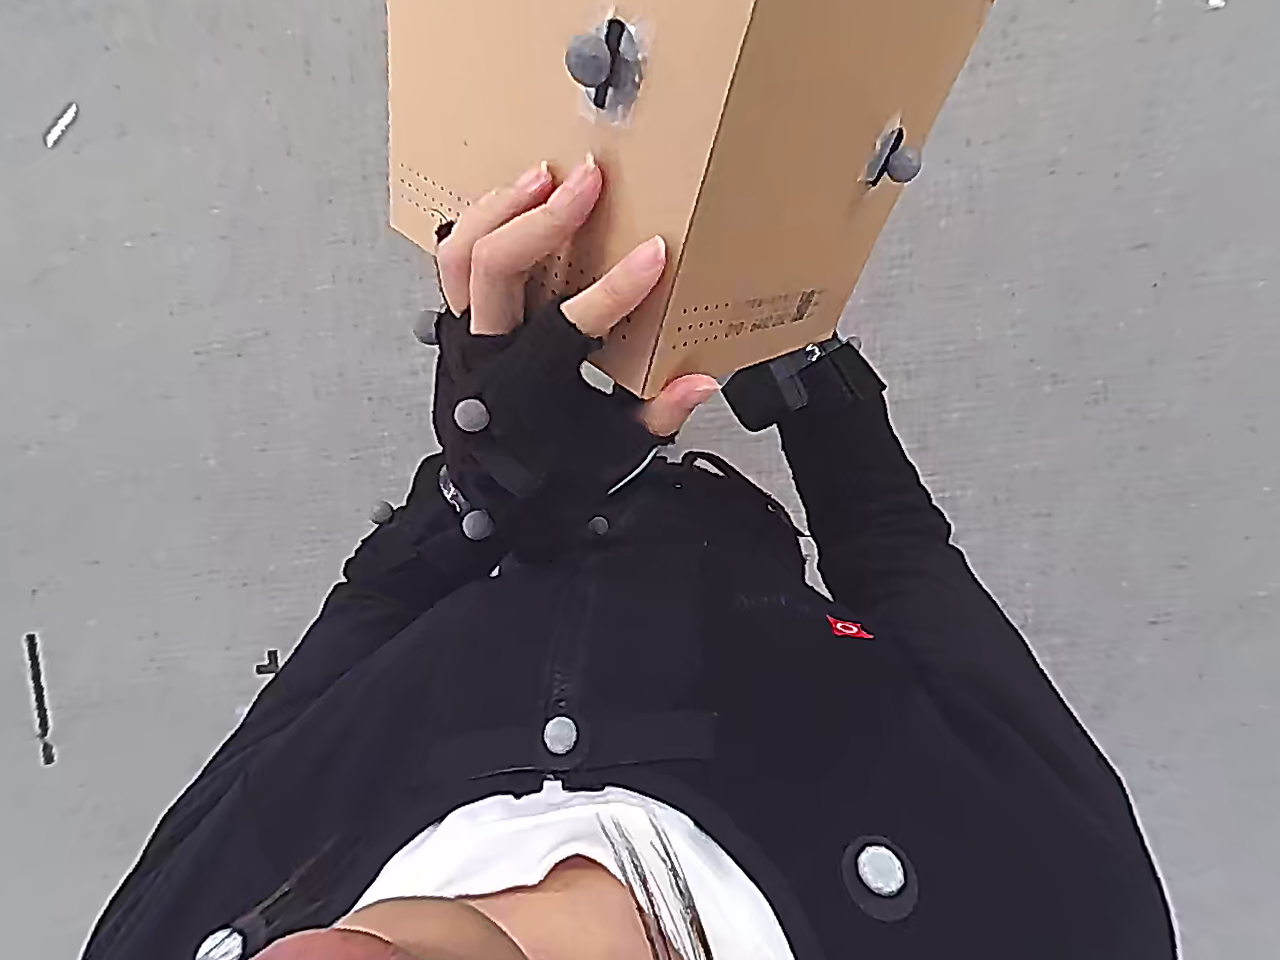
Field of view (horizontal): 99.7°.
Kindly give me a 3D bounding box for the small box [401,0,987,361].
[{"bbox_3d":[0.013,-0.164,0.243,0.179,0.168,0.176,38,130,25],"label":"small box"}]
